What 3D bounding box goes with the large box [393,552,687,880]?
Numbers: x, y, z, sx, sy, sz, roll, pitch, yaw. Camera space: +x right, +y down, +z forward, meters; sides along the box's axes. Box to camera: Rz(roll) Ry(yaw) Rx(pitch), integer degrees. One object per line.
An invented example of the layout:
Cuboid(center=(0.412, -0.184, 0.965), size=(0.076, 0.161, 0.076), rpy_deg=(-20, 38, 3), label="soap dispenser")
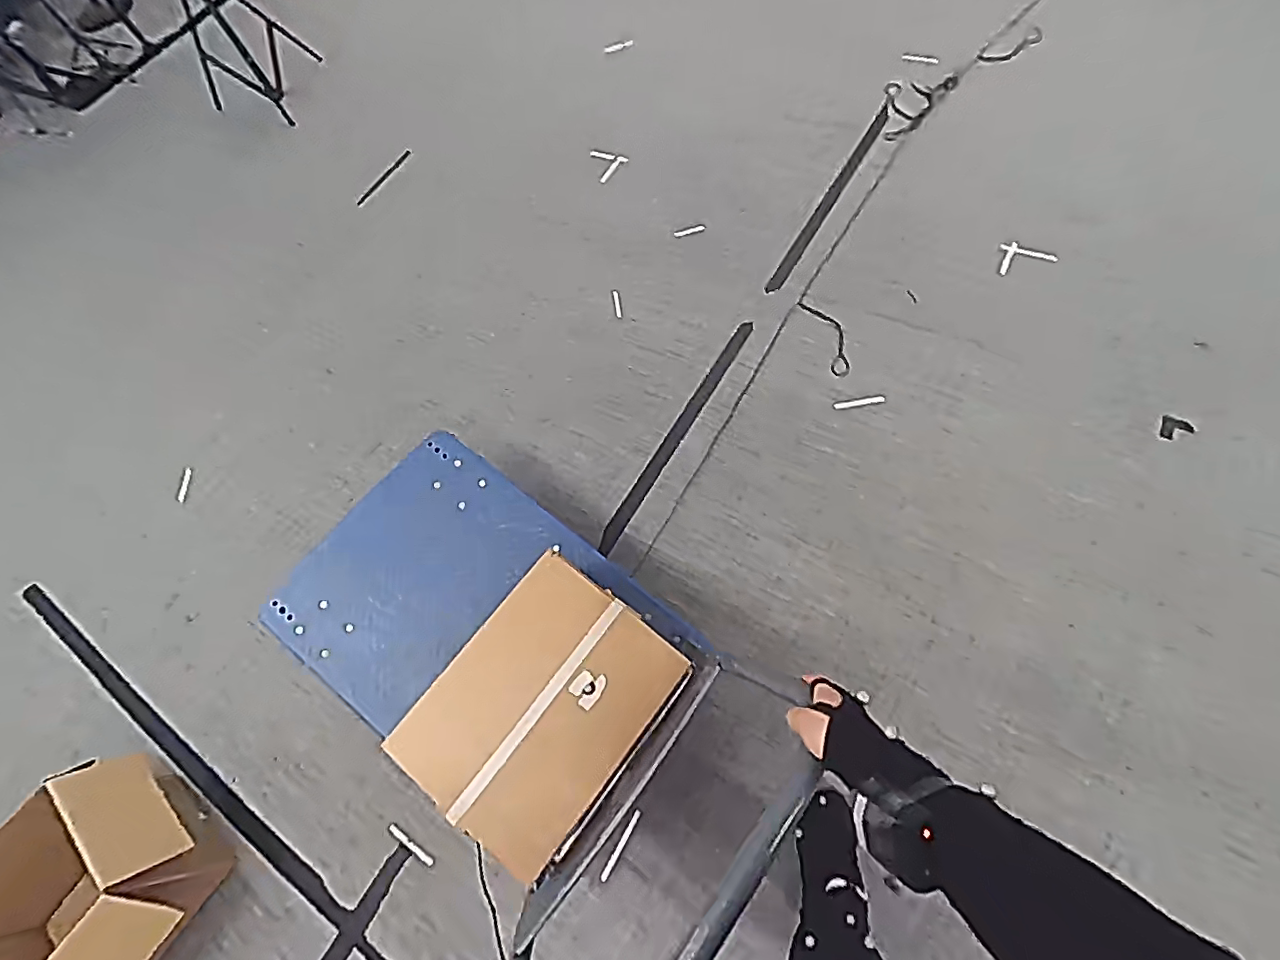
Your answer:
Cuboid(center=(-0.162, 0.410, 1.021), size=(0.320, 0.320, 0.408), rpy_deg=(37, 74, 8), label="large box")
